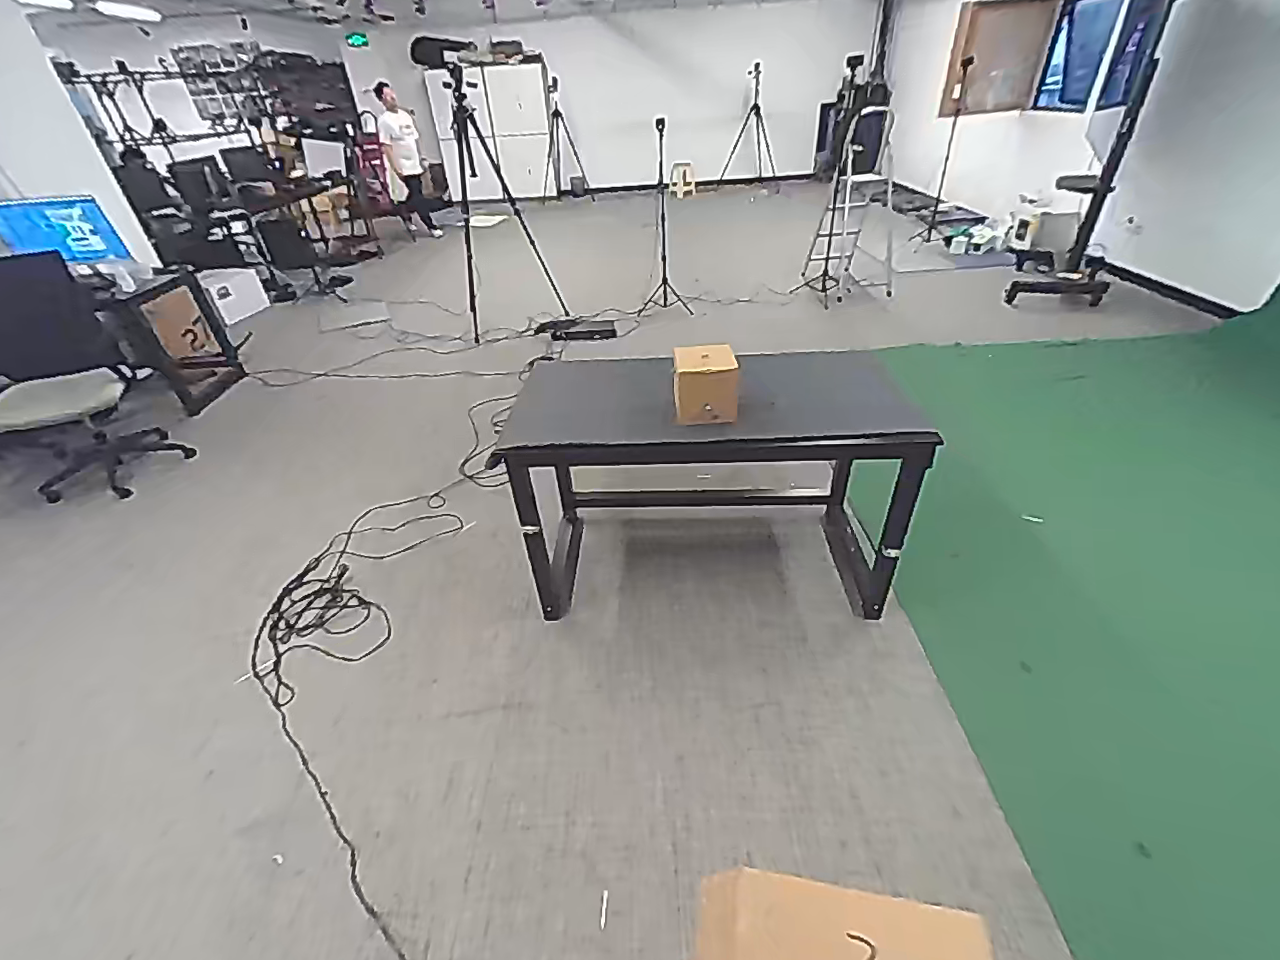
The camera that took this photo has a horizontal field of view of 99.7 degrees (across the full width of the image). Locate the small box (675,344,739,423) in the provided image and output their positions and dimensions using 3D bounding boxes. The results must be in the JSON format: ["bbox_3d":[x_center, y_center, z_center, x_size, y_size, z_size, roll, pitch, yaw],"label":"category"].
[{"bbox_3d":[0.188,-0.281,1.572,0.168,0.176,0.179,-4,35,1],"label":"small box"}]
